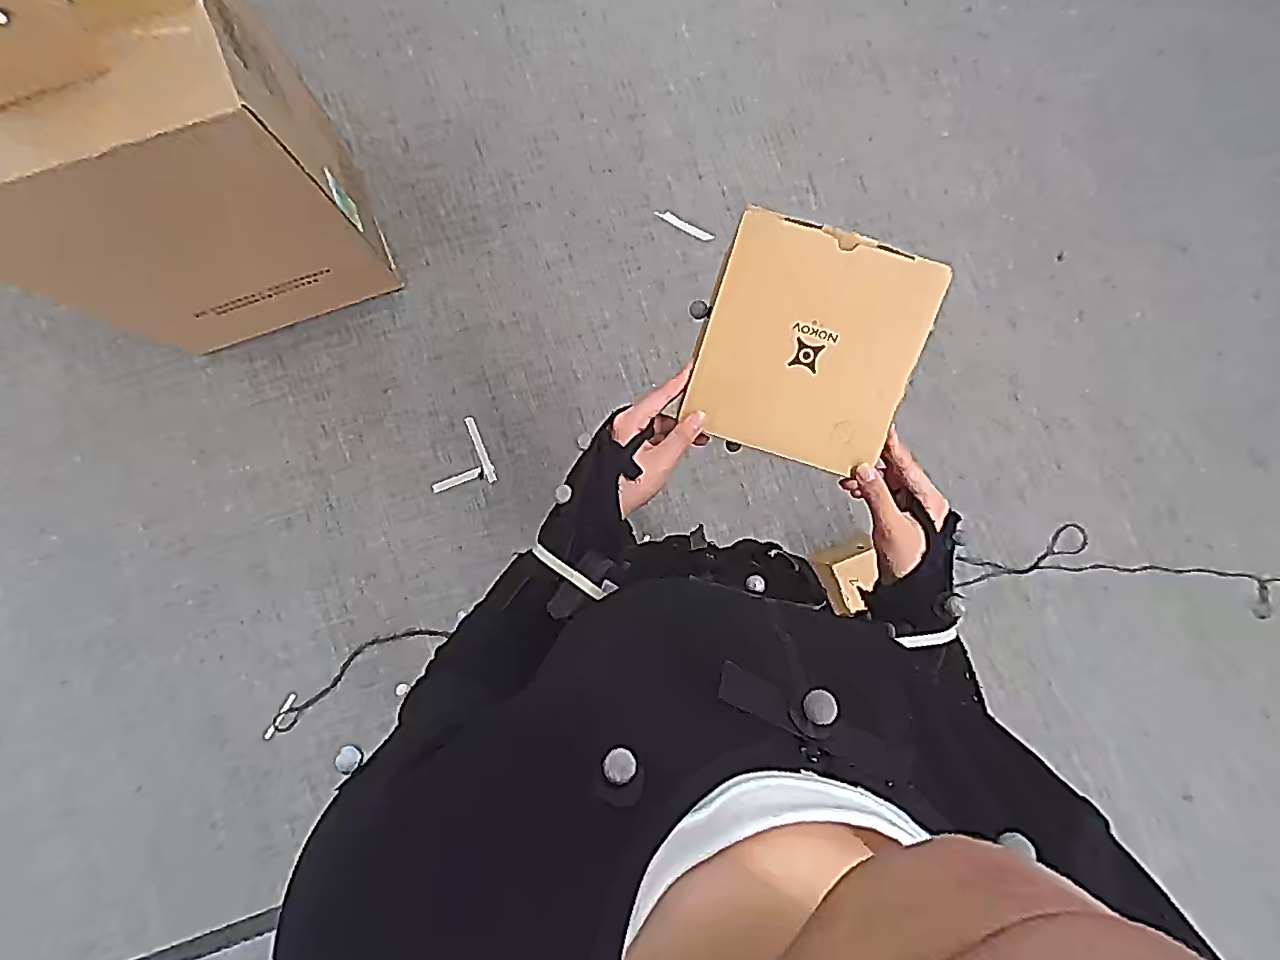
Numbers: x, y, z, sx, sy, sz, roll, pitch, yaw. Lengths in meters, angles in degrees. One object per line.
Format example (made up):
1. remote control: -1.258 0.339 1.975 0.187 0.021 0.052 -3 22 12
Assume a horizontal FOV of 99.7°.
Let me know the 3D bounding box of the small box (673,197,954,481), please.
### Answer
1. small box: 0.135 -0.118 0.490 0.168 0.176 0.179 17 101 1

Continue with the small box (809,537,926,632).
1. small box: 0.543 0.244 1.311 0.179 0.176 0.168 -21 88 -4
